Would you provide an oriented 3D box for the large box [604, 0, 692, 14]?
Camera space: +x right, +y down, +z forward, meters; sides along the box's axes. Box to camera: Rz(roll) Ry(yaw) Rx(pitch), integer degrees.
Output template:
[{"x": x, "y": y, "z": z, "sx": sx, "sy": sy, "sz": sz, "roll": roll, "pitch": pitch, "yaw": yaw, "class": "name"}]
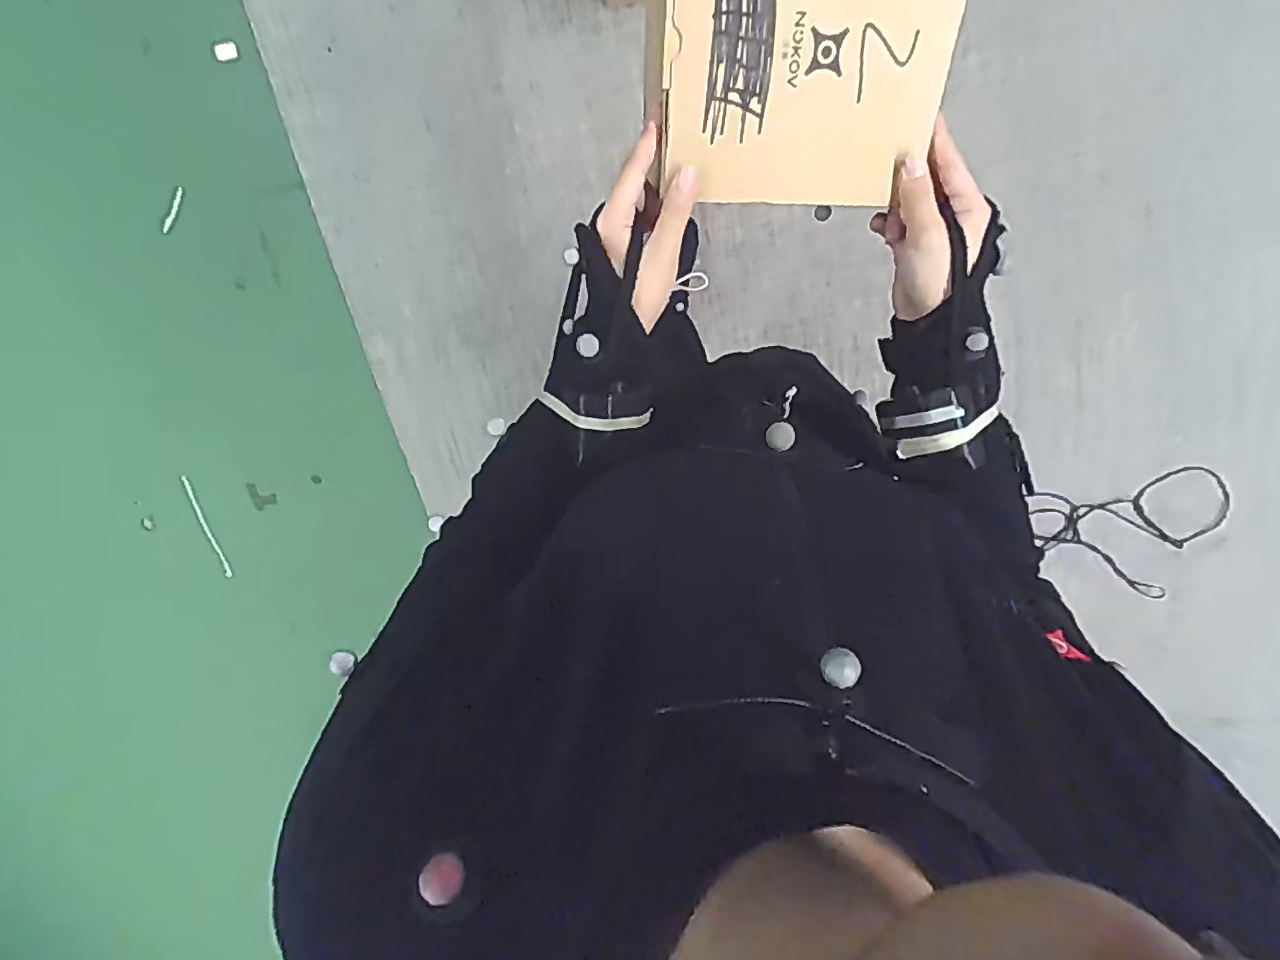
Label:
[{"x": 0.101, "y": -1.050, "z": 0.882, "sx": 0.408, "sy": 0.320, "sz": 0.320, "roll": -5, "pitch": 108, "yaw": 5, "class": "large box"}]
